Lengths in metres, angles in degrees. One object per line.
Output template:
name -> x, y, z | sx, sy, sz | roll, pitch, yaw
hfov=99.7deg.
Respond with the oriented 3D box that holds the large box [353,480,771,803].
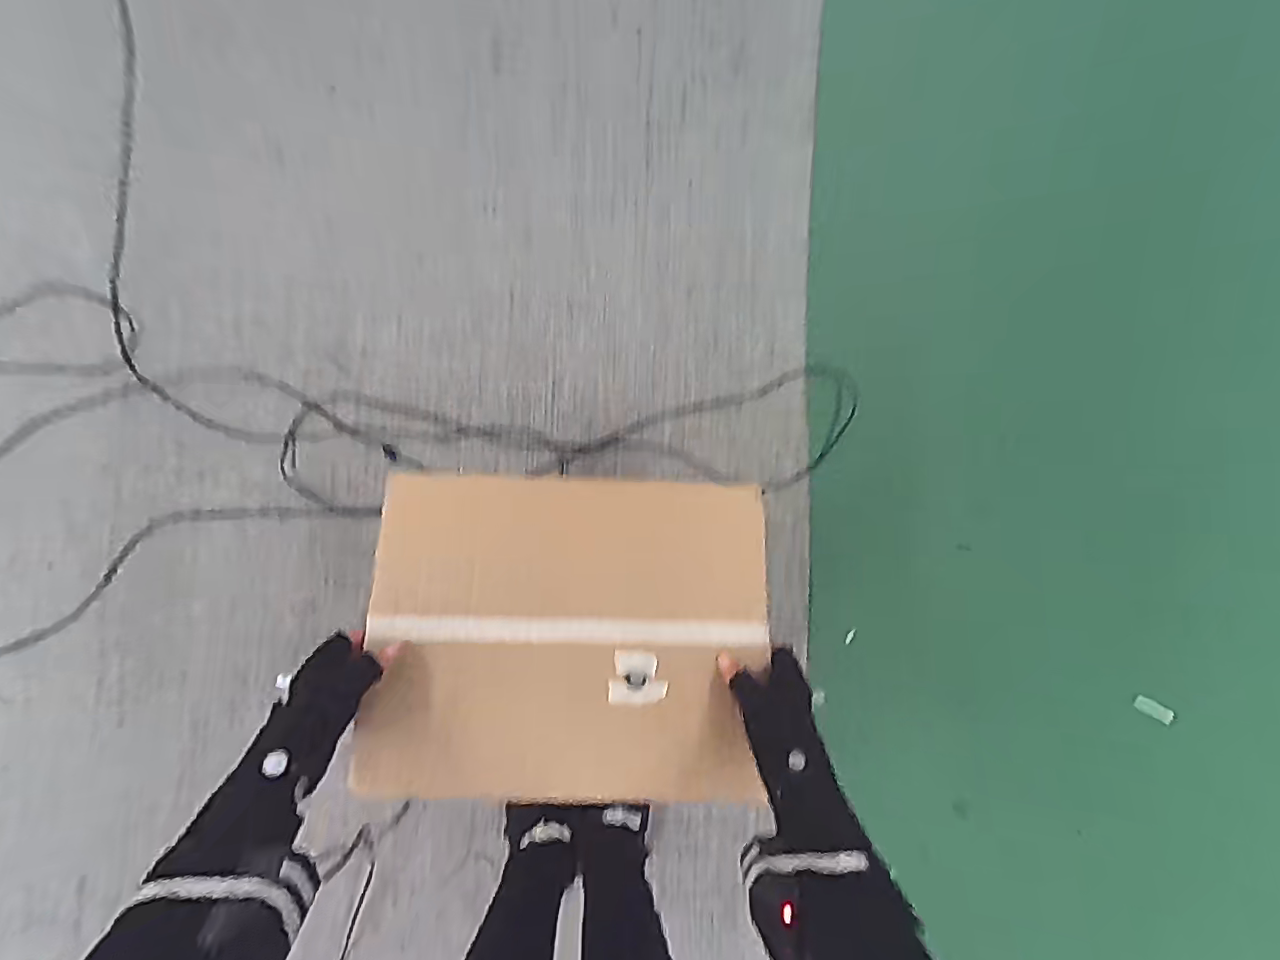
large box -> -0.080, 0.192, 0.692 | 0.408, 0.320, 0.320 | 2, 76, -3
